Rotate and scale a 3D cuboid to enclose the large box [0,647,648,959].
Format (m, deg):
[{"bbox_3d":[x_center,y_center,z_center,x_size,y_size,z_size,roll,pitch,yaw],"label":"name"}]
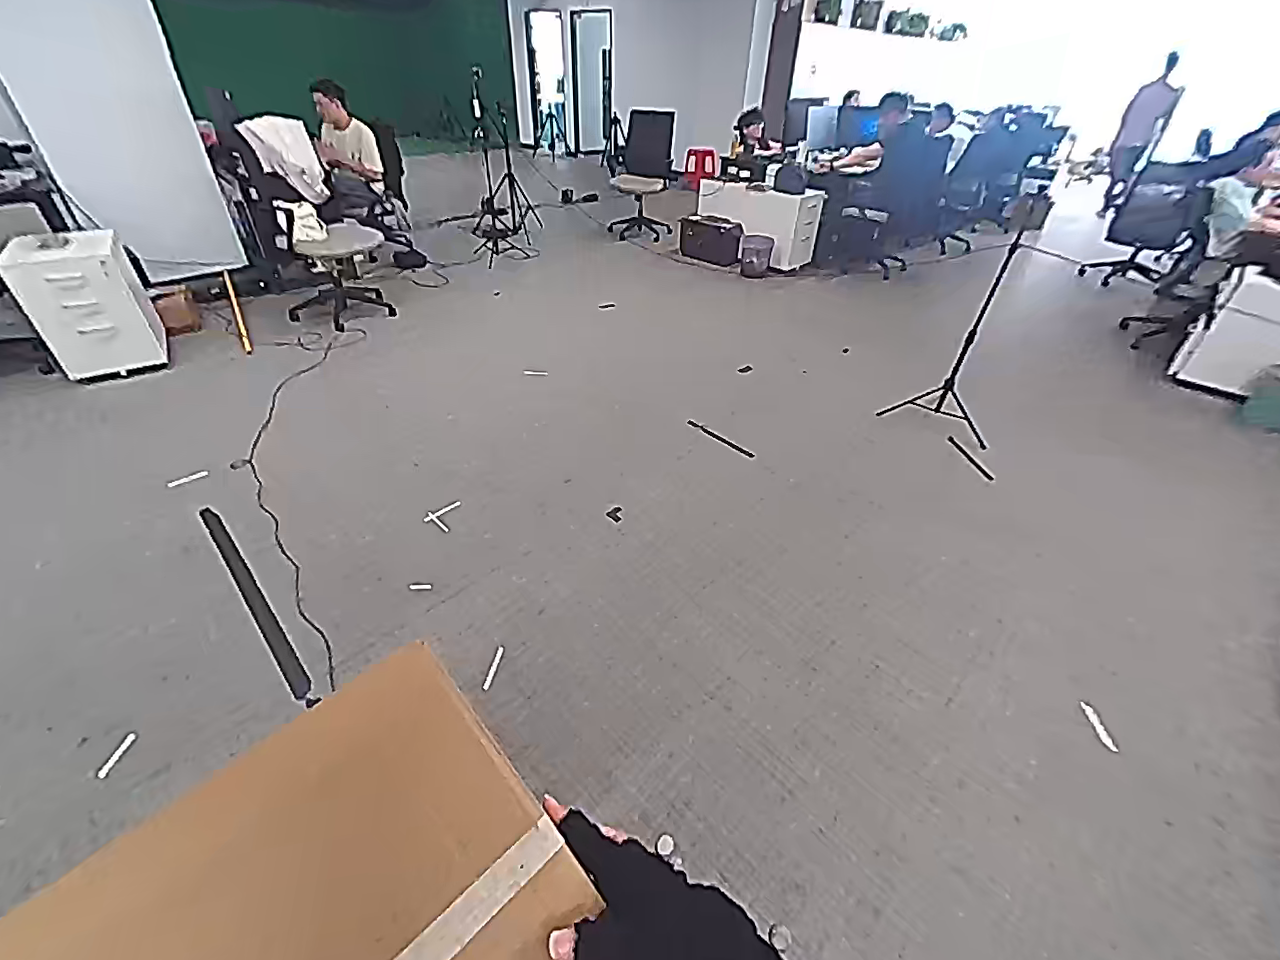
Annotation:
[{"bbox_3d":[-0.241,0.398,0.389,0.408,0.320,0.320,-34,77,-29],"label":"large box"}]
